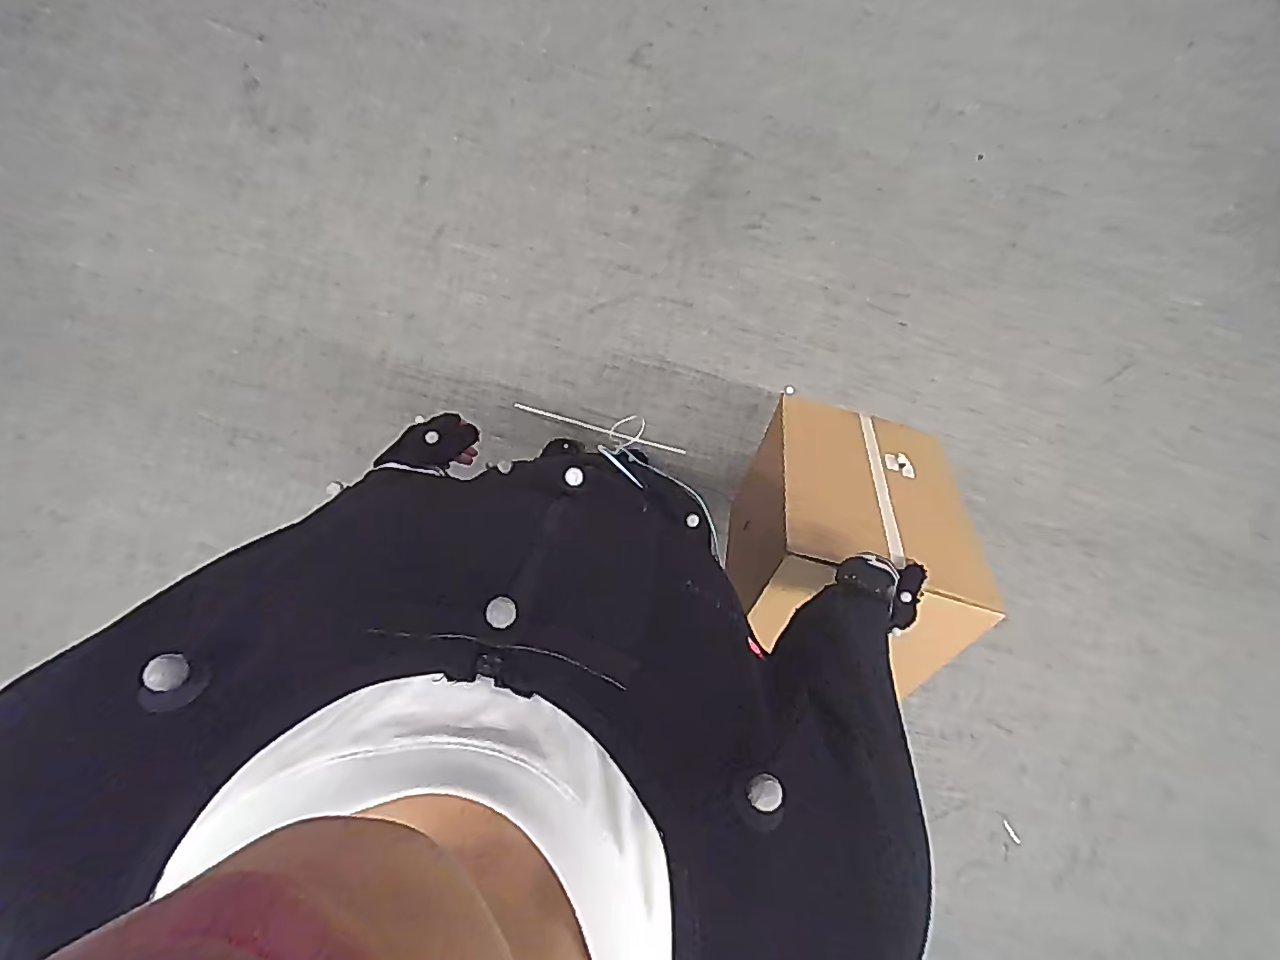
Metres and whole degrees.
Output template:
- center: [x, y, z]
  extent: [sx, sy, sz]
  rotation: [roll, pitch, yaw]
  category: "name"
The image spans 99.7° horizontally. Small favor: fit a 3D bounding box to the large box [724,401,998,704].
- center: [0.351, 0.124, 0.985]
  extent: [0.320, 0.408, 0.320]
  rotation: [17, 132, -1]
  category: "large box"
